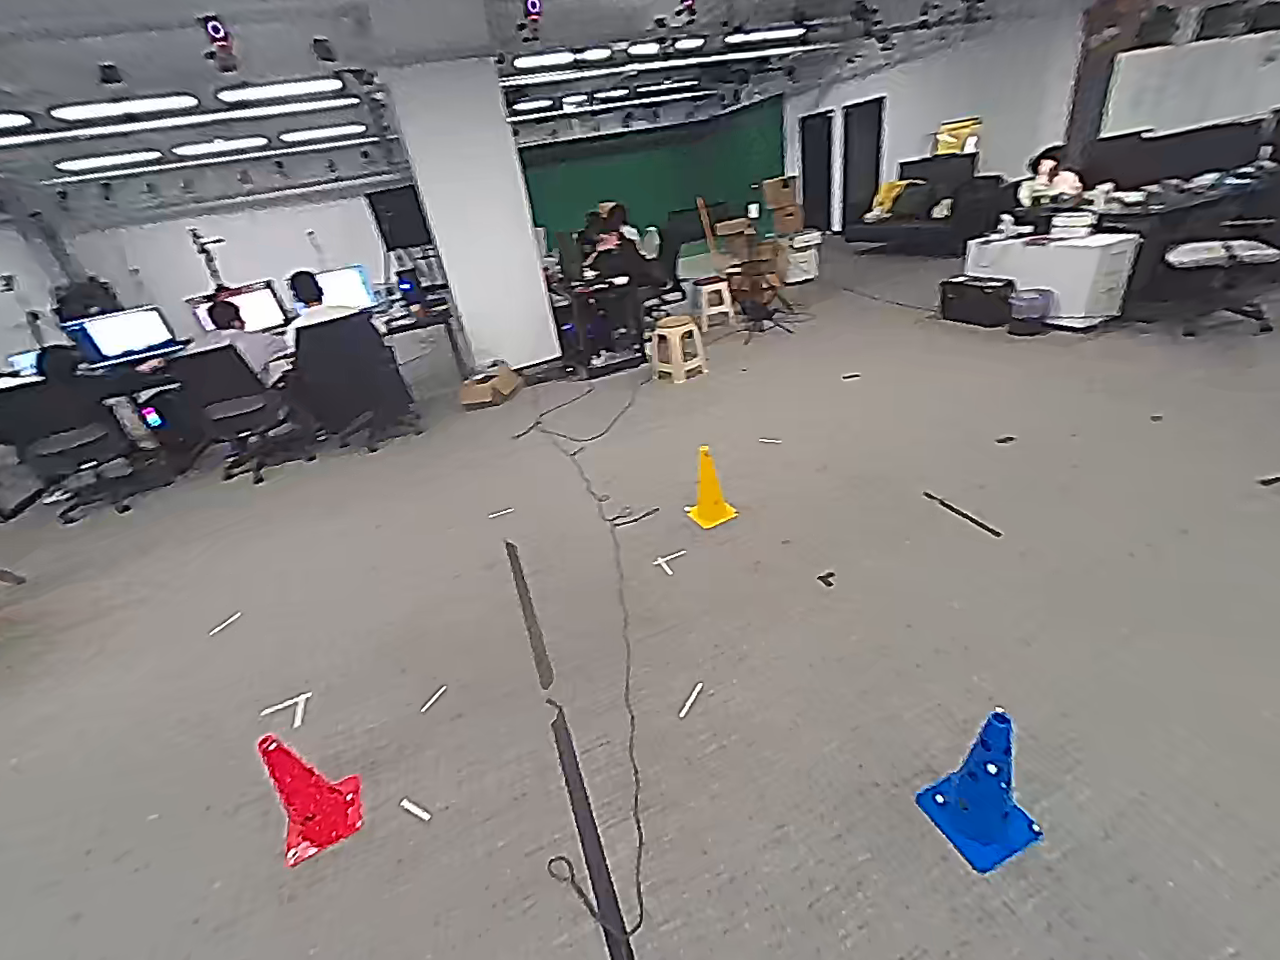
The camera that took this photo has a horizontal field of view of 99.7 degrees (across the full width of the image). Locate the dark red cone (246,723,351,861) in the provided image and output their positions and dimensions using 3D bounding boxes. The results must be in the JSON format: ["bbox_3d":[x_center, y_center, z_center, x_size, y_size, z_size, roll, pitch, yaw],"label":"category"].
[{"bbox_3d":[-0.950,0.802,1.454,0.201,0.394,0.202,-21,30,-21],"label":"dark red cone"}]

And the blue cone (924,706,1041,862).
[{"bbox_3d":[0.787,0.649,1.213,0.192,0.380,0.193,-17,29,-14],"label":"blue cone"}]
